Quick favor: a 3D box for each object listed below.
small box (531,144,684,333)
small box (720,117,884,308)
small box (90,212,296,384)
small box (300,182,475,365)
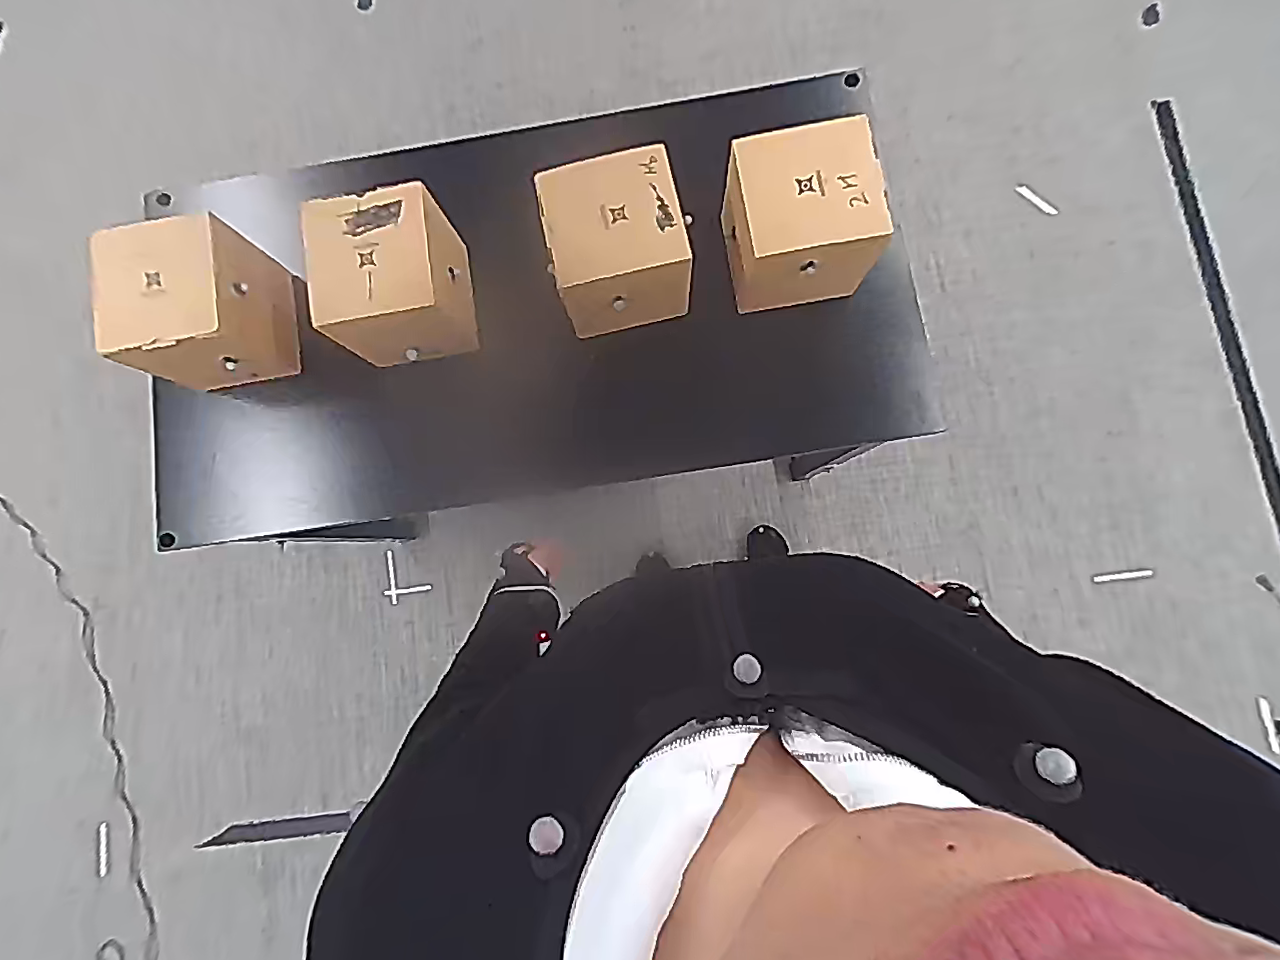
[{"bbox_3d":[-0.037,-0.329,0.772,0.179,0.176,0.168,-13,83,2],"label":"small box"},{"bbox_3d":[0.211,-0.361,0.762,0.179,0.176,0.168,-9,83,2],"label":"small box"},{"bbox_3d":[-0.637,-0.251,0.790,0.168,0.176,0.179,-10,82,0],"label":"small box"},{"bbox_3d":[-0.353,-0.286,0.781,0.168,0.176,0.179,-10,84,2],"label":"small box"}]
